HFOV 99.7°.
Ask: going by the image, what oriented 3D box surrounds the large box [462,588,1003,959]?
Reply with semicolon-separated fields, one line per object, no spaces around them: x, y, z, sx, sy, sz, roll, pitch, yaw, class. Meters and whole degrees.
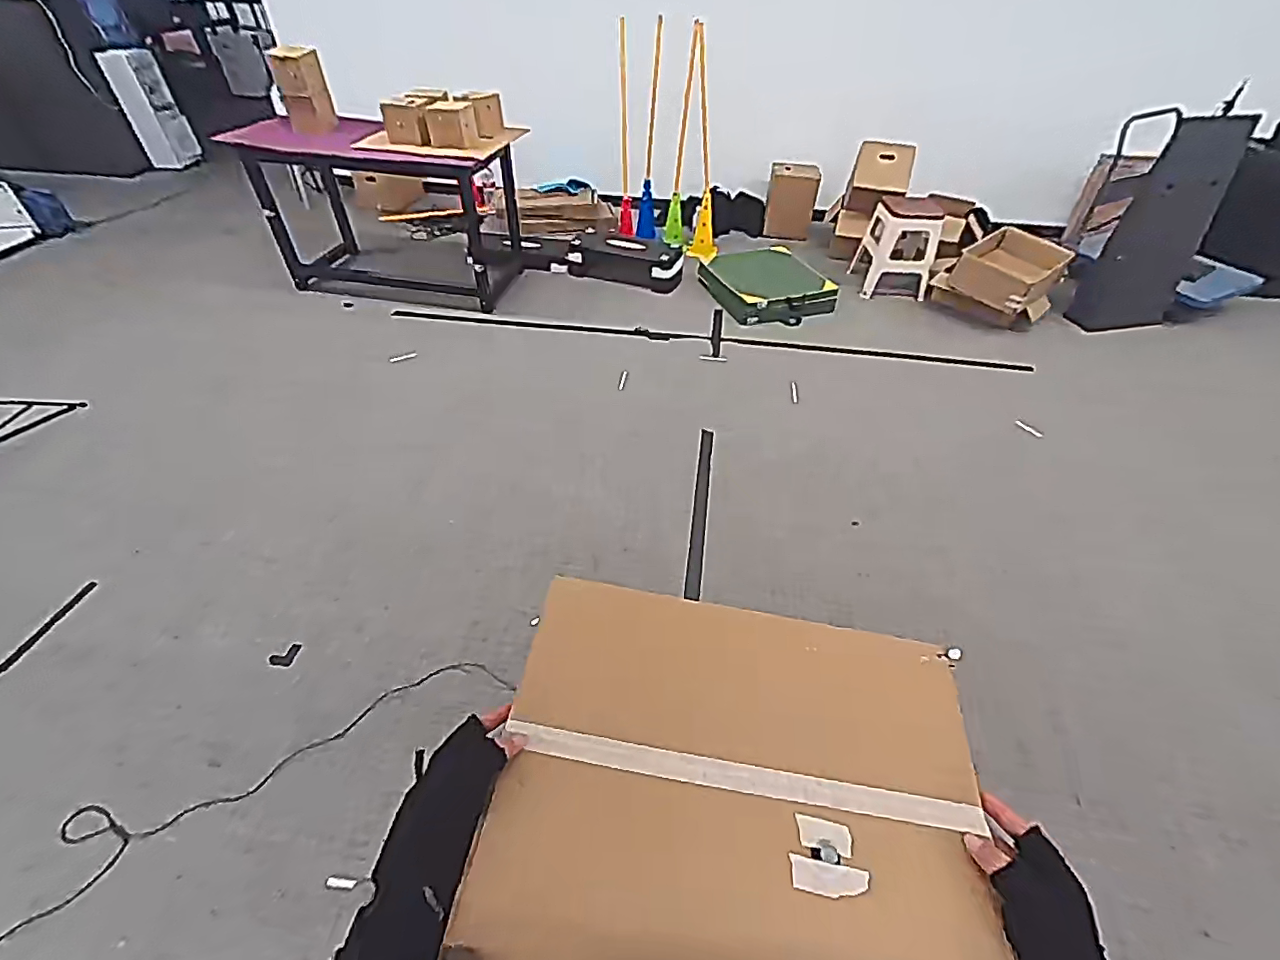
0.074;0.353;0.580;0.408;0.320;0.320;9;50;2;large box
